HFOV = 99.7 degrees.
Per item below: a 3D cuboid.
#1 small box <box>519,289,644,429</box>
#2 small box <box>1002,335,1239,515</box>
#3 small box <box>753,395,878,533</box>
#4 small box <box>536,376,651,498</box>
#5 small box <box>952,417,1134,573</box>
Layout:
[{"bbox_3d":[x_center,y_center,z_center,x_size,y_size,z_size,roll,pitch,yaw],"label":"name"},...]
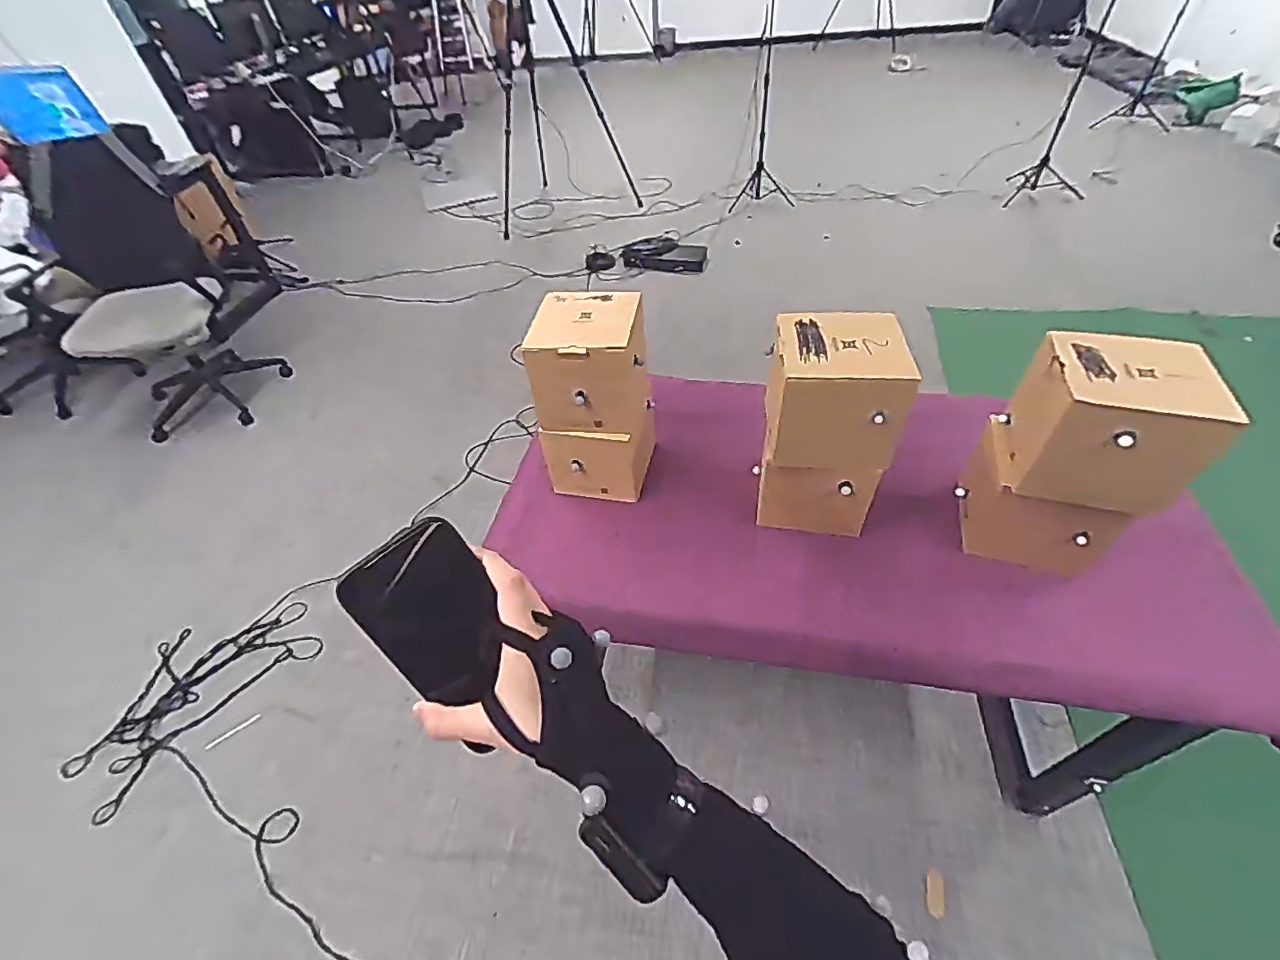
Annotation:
[{"bbox_3d":[-0.086,-0.204,0.920,0.168,0.176,0.179,4,48,8],"label":"small box"},{"bbox_3d":[0.620,-0.073,0.735,0.179,0.176,0.168,12,49,15],"label":"small box"},{"bbox_3d":[0.298,-0.025,0.942,0.179,0.176,0.168,7,48,12],"label":"small box"},{"bbox_3d":[-0.077,-0.086,1.035,0.168,0.176,0.179,7,48,12],"label":"small box"},{"bbox_3d":[0.626,0.026,0.866,0.179,0.176,0.168,12,49,16],"label":"small box"}]
